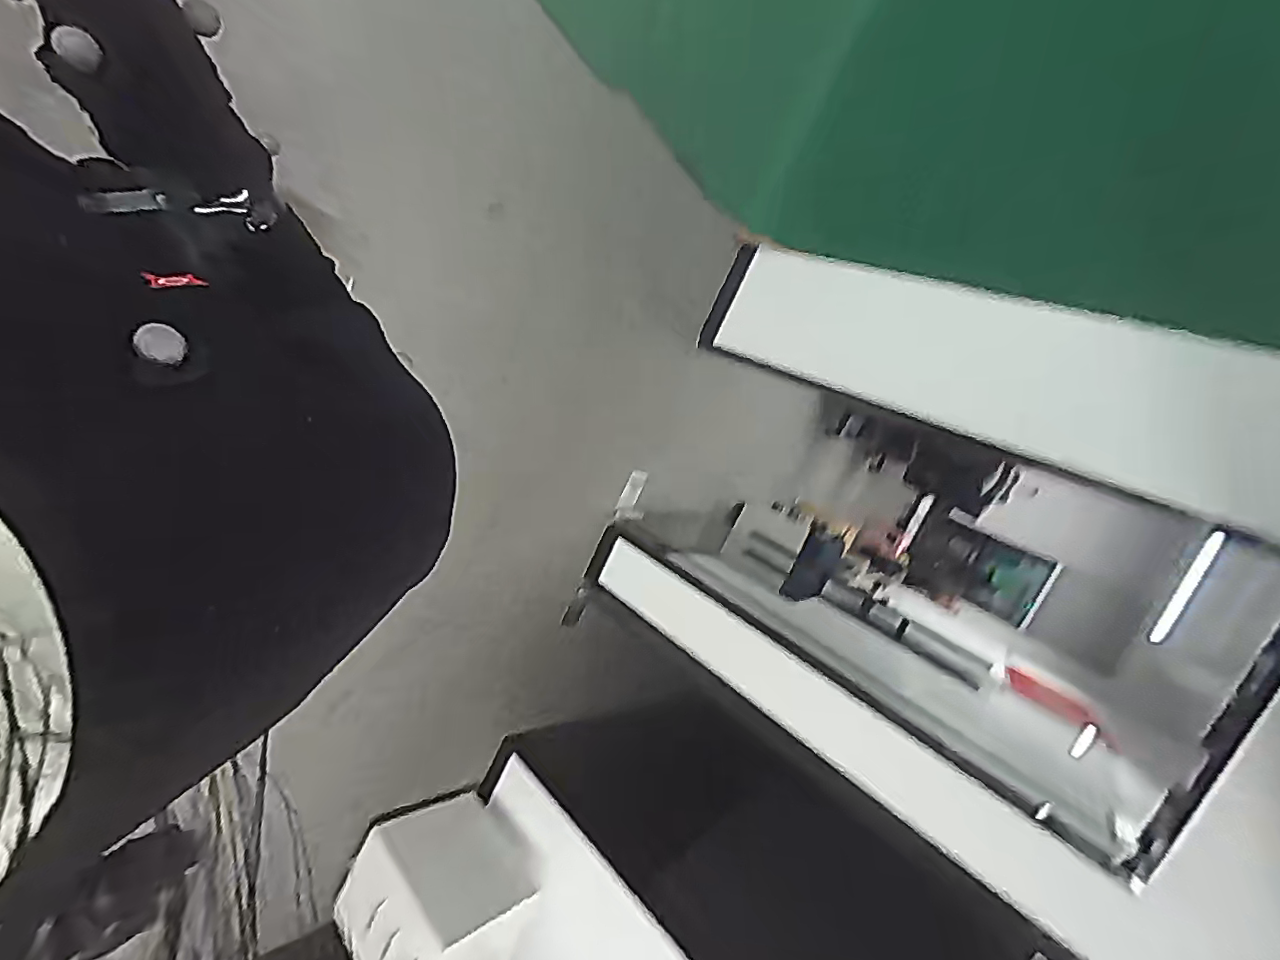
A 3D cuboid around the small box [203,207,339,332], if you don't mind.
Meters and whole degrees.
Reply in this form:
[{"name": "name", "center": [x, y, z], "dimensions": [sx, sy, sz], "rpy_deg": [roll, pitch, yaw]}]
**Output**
[{"name": "small box", "center": [-0.773, -0.438, 1.126], "dimensions": [0.168, 0.176, 0.179], "rpy_deg": [18, 98, -56]}]
